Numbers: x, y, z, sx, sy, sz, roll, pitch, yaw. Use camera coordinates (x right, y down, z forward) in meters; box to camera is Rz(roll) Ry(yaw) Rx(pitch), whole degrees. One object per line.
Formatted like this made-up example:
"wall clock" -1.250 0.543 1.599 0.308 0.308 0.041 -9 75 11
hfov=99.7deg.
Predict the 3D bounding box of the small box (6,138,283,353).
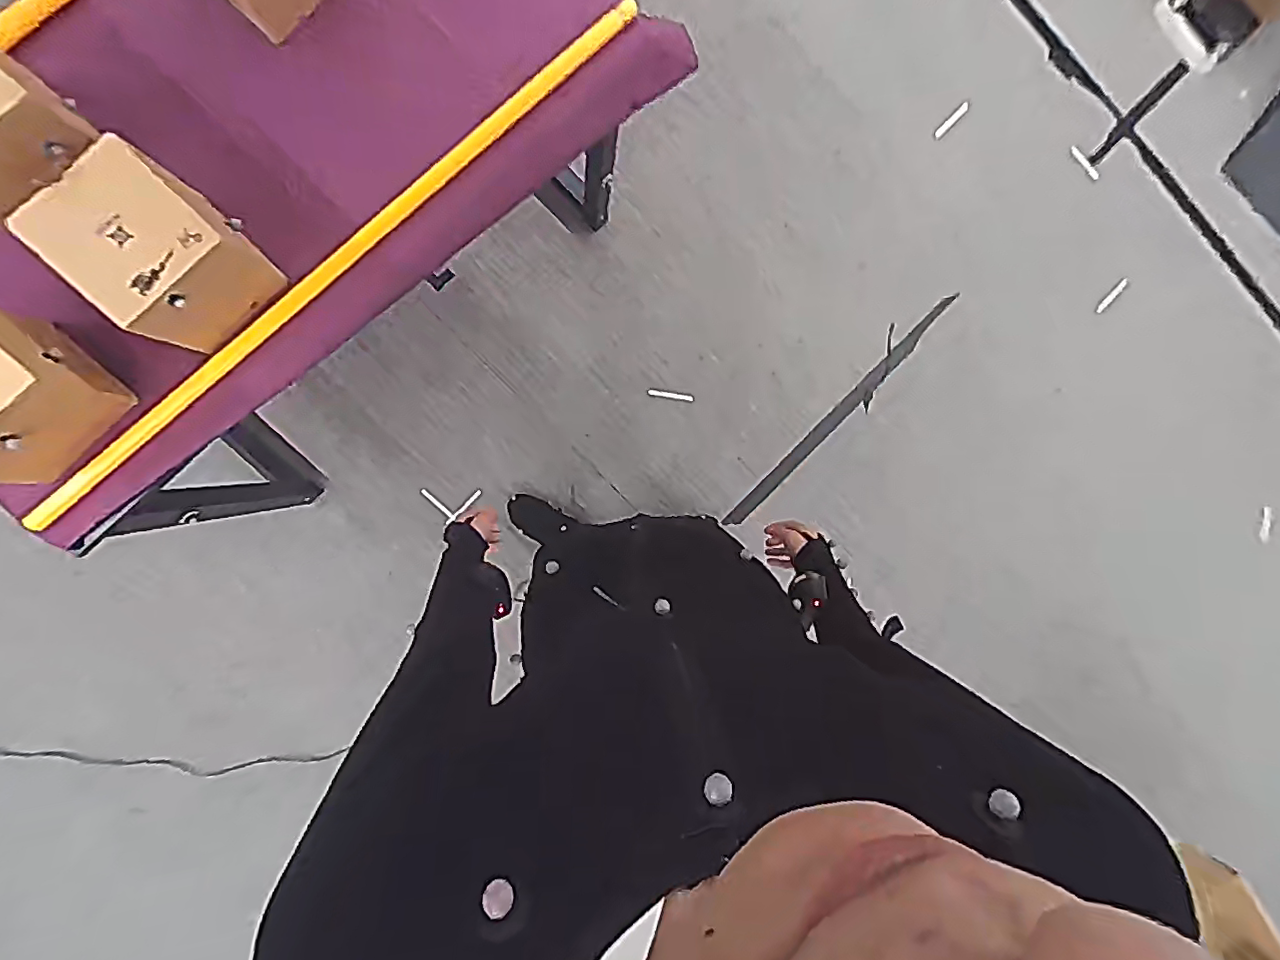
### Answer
"small box" -0.644 -0.298 0.731 0.179 0.176 0.168 45 87 -6

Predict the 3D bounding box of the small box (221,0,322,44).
"small box" -0.543 -0.763 0.729 0.168 0.176 0.179 42 88 -7

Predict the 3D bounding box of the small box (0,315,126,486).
"small box" -0.849 -0.108 0.711 0.168 0.176 0.179 44 86 -6
